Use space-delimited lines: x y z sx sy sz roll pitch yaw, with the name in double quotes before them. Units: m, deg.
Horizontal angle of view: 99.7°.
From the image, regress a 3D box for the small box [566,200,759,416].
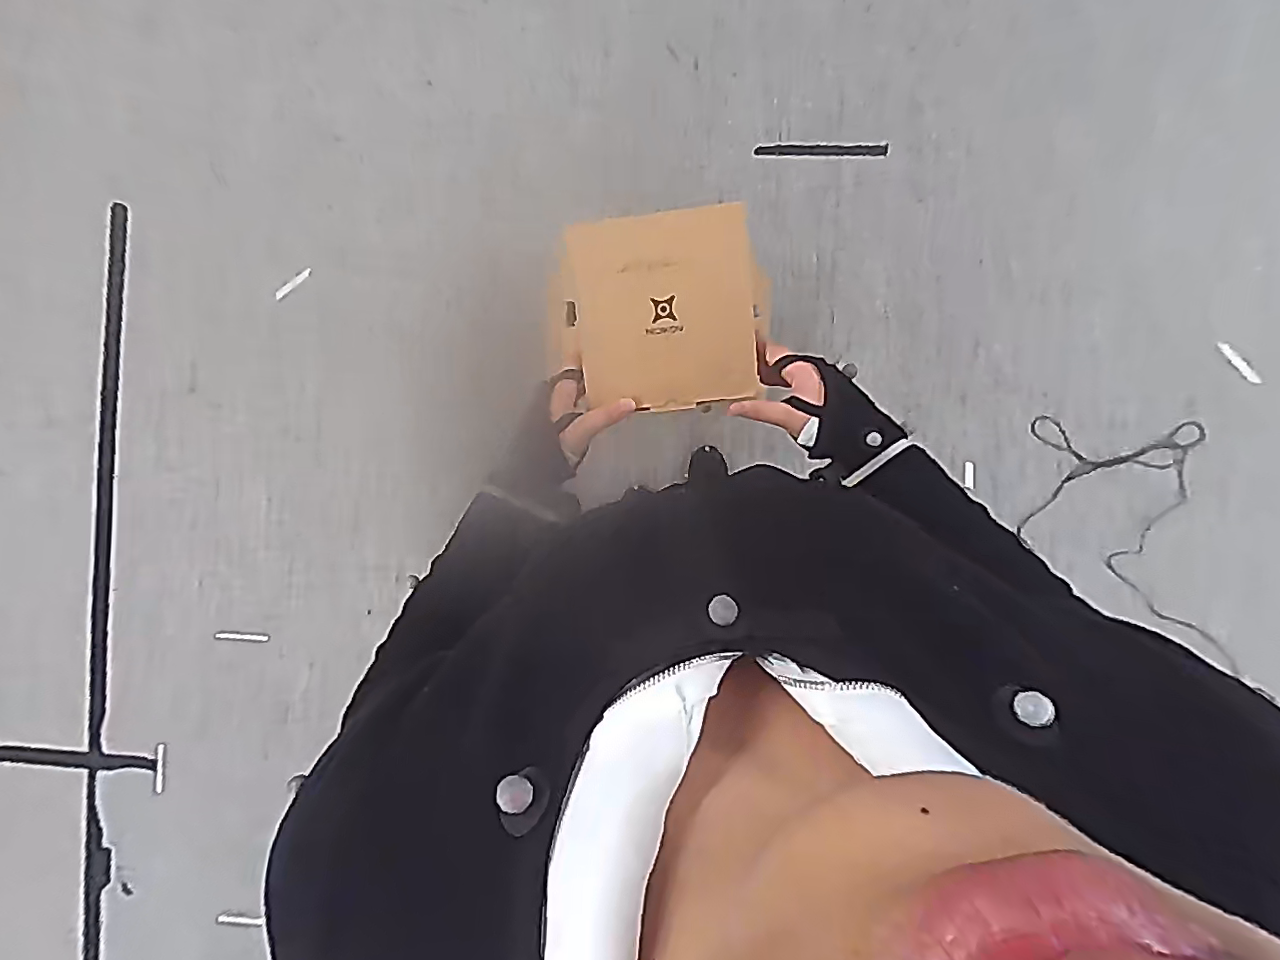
"small box" 0.026 -0.171 0.570 0.168 0.176 0.179 -6 102 3
